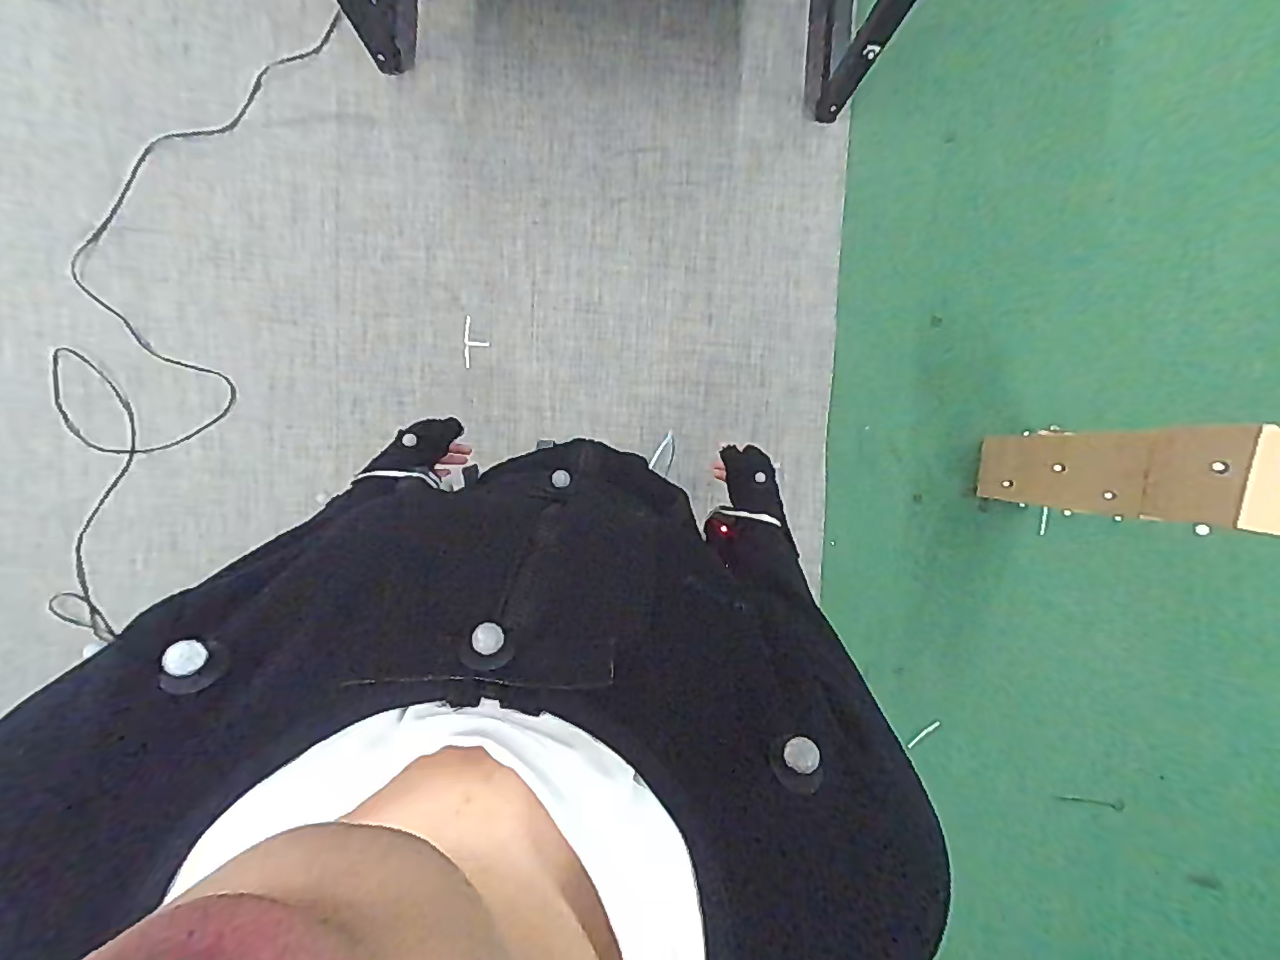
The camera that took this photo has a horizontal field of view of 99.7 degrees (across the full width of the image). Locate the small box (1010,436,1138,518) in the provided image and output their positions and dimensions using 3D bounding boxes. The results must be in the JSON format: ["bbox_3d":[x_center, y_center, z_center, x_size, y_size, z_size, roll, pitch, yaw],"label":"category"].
[{"bbox_3d":[1.039,-0.011,1.310,0.168,0.176,0.179,5,94,-4],"label":"small box"}]

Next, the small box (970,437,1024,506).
[{"bbox_3d":[1.036,-0.024,1.472,0.168,0.176,0.179,4,94,-4],"label":"small box"}]

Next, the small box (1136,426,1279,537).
[{"bbox_3d":[1.061,0.002,0.982,0.168,0.176,0.179,7,93,-4],"label":"small box"}]
